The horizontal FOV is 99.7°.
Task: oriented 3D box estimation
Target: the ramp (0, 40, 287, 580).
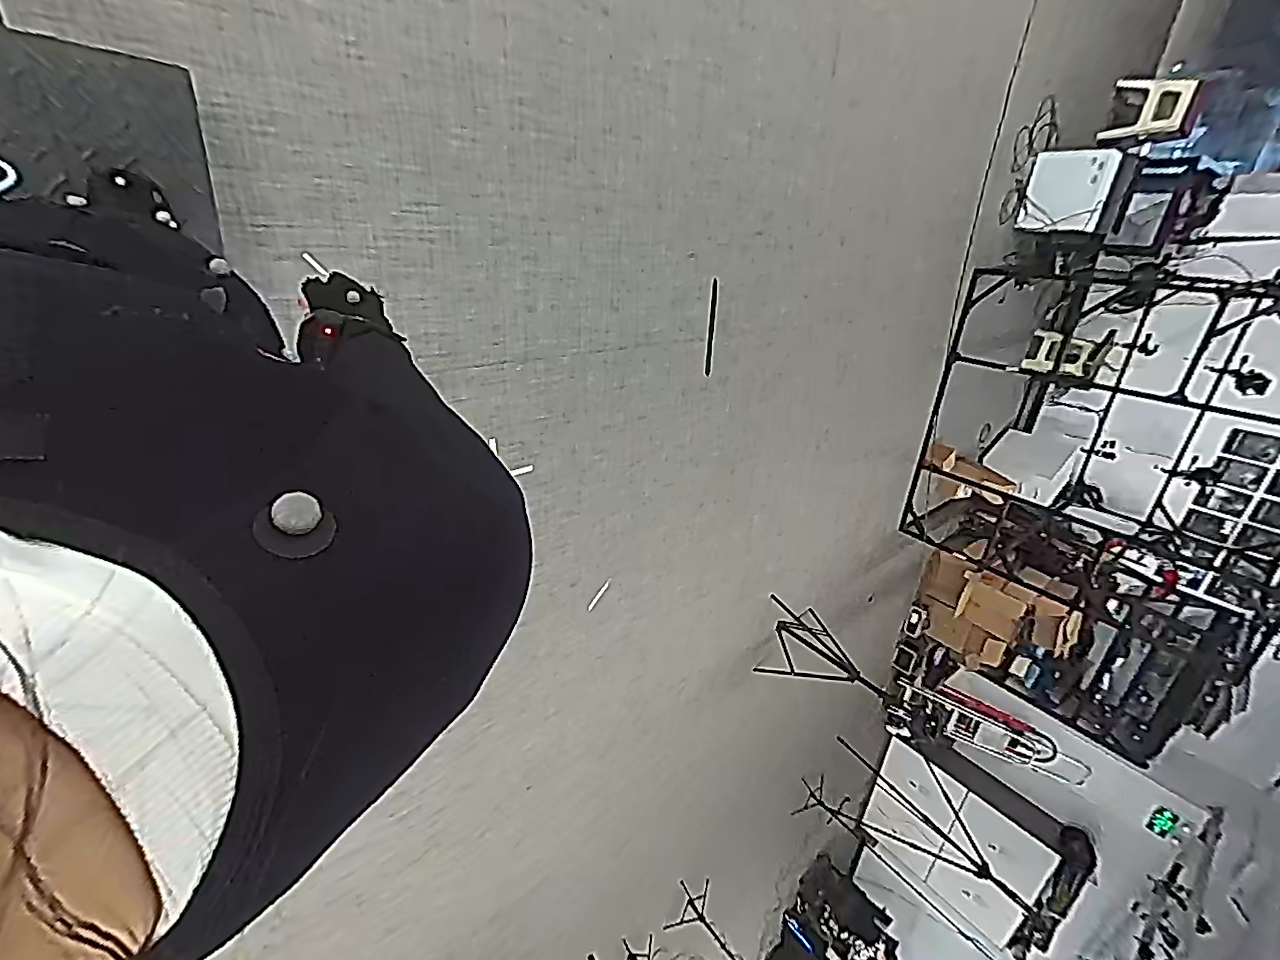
[{"bbox_3d":[-1.061,-0.248,1.069,0.509,0.206,0.991,-18,122,-36],"label":"ramp"}]
